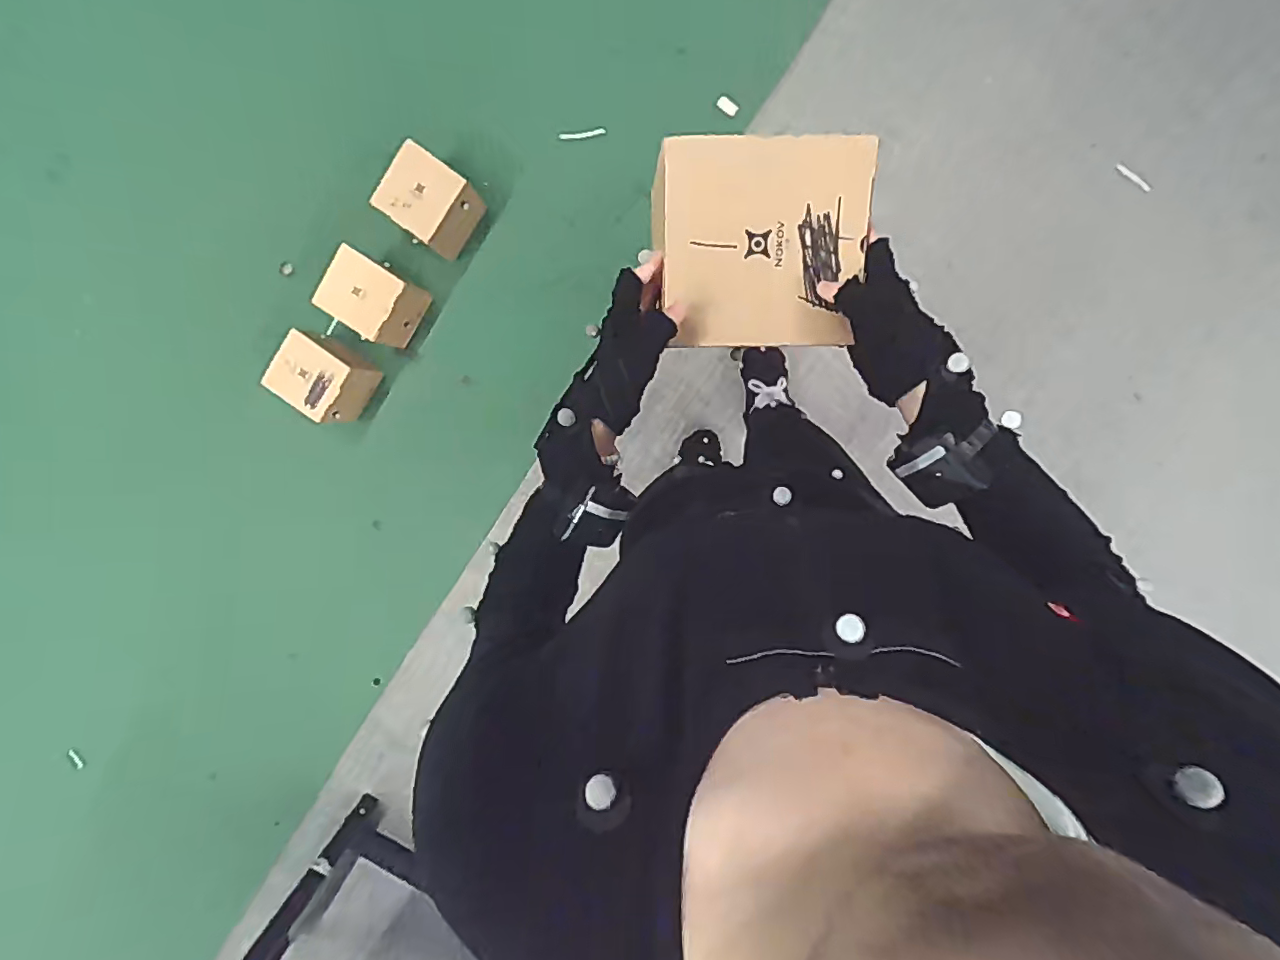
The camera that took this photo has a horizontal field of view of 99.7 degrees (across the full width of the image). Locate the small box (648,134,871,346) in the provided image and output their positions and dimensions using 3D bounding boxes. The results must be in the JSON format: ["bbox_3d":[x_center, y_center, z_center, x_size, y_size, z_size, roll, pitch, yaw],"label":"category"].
[{"bbox_3d":[0.100,-0.220,0.533,0.179,0.176,0.168,-2,104,-1],"label":"small box"}]

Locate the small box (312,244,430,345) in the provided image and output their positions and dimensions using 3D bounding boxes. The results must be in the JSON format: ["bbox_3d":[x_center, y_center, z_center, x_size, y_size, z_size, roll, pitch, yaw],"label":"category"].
[{"bbox_3d":[-0.674,-0.459,1.373,0.179,0.176,0.168,33,97,-4],"label":"small box"}]

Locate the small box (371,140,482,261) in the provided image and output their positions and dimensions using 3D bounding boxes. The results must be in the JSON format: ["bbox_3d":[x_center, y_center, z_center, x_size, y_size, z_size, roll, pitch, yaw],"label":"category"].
[{"bbox_3d":[-0.514,-0.679,1.338,0.168,0.176,0.179,36,97,-3],"label":"small box"}]
